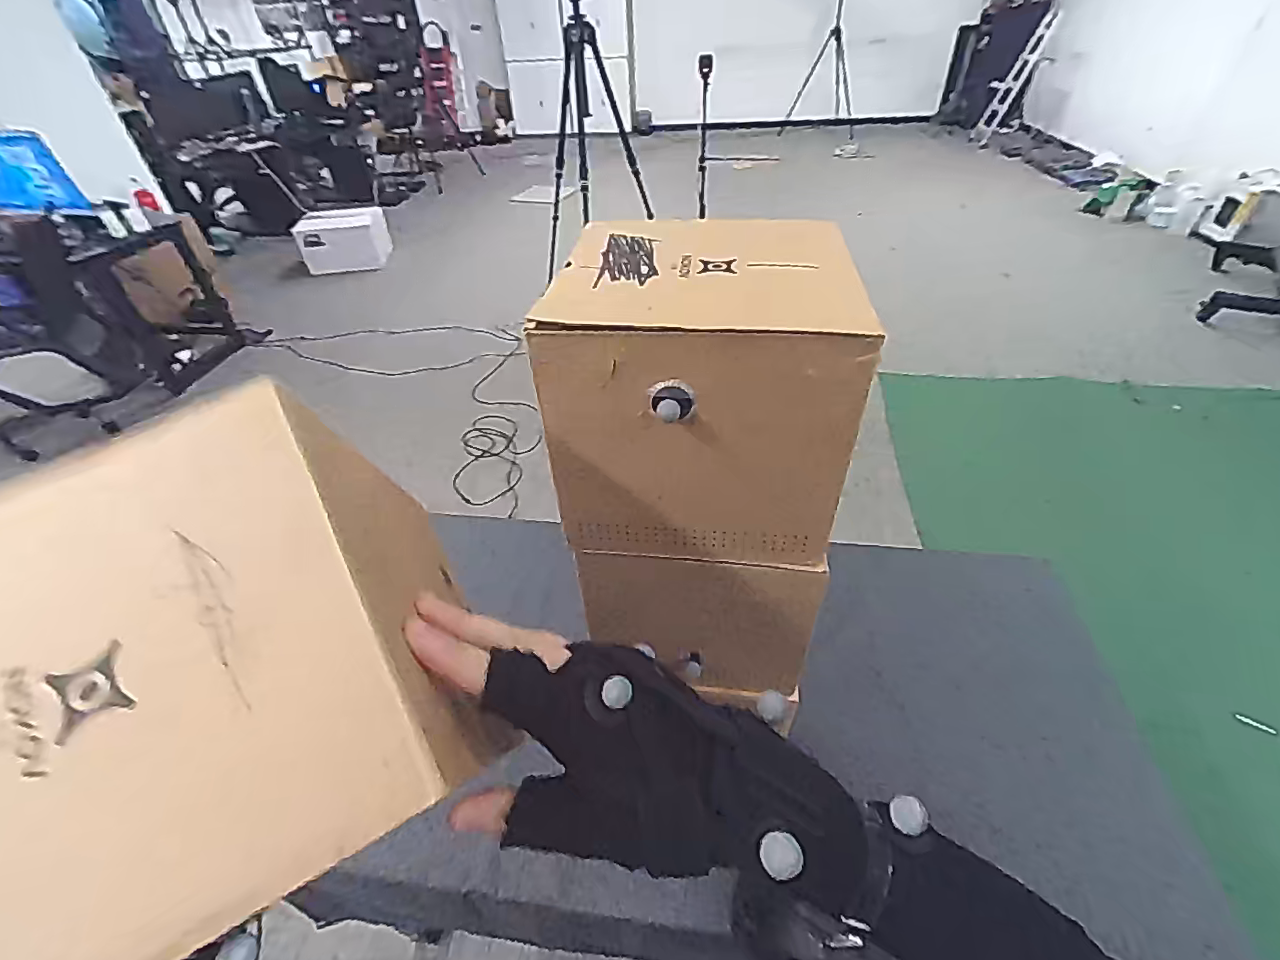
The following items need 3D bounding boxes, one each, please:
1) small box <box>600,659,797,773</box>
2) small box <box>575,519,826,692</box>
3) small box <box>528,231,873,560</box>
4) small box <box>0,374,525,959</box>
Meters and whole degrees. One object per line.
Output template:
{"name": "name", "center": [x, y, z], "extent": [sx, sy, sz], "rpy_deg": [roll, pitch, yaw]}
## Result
{"name": "small box", "center": [0.062, 0.195, 0.584], "extent": [0.179, 0.176, 0.168], "rpy_deg": [3, 41, 7]}
{"name": "small box", "center": [0.054, 0.067, 0.482], "extent": [0.179, 0.176, 0.168], "rpy_deg": [5, 40, 8]}
{"name": "small box", "center": [0.041, -0.060, 0.378], "extent": [0.179, 0.176, 0.168], "rpy_deg": [3, 42, 7]}
{"name": "small box", "center": [-0.174, 0.090, 0.246], "extent": [0.179, 0.176, 0.168], "rpy_deg": [-27, 74, -11]}
